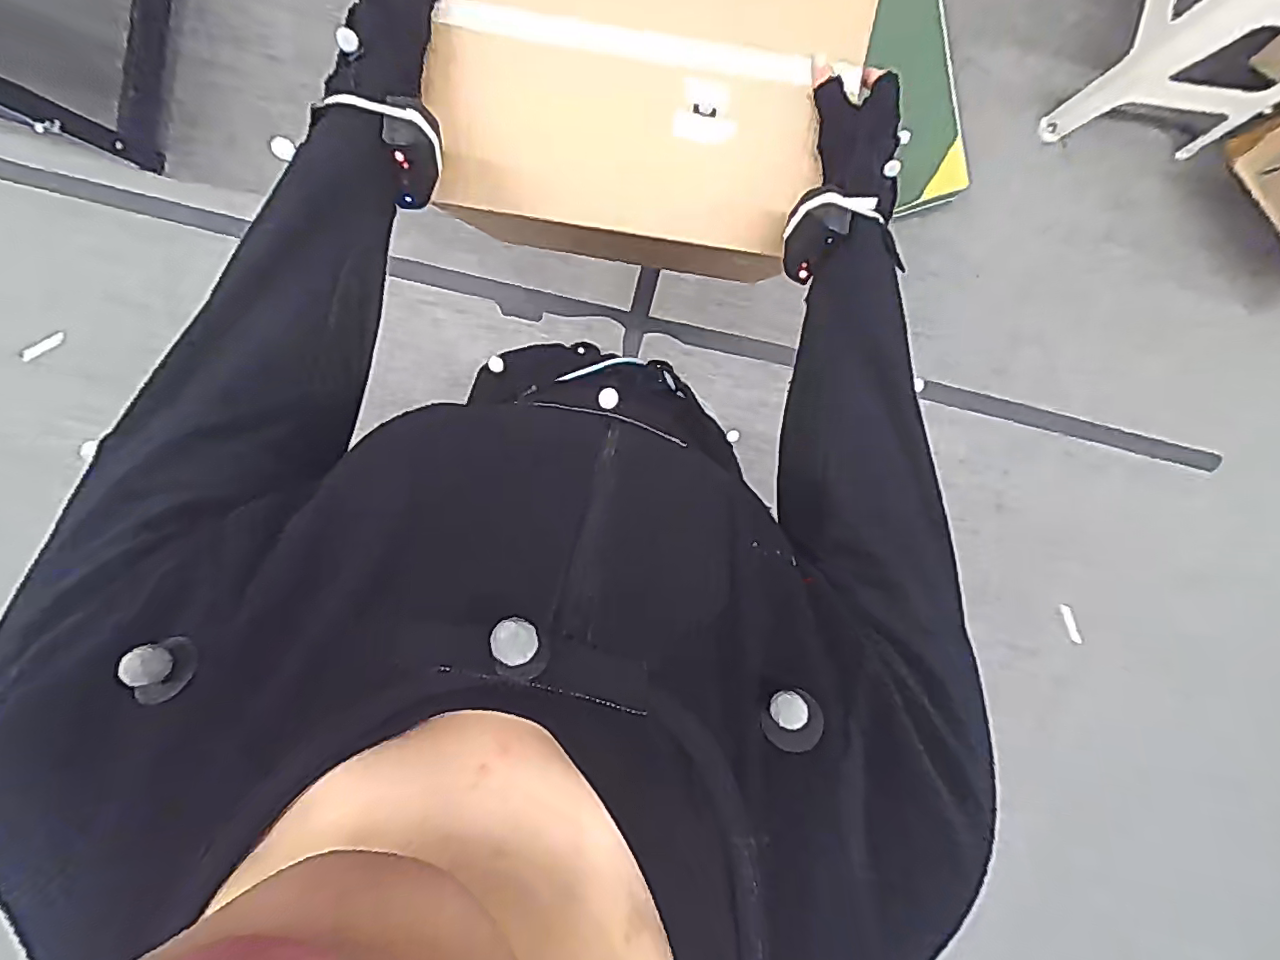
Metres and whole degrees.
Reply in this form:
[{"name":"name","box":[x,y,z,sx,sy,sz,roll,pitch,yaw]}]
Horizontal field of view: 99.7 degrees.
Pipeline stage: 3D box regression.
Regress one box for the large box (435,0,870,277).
[{"name":"large box","box":[0.004,-0.444,0.655,0.408,0.320,0.320,8,107,-3]}]
